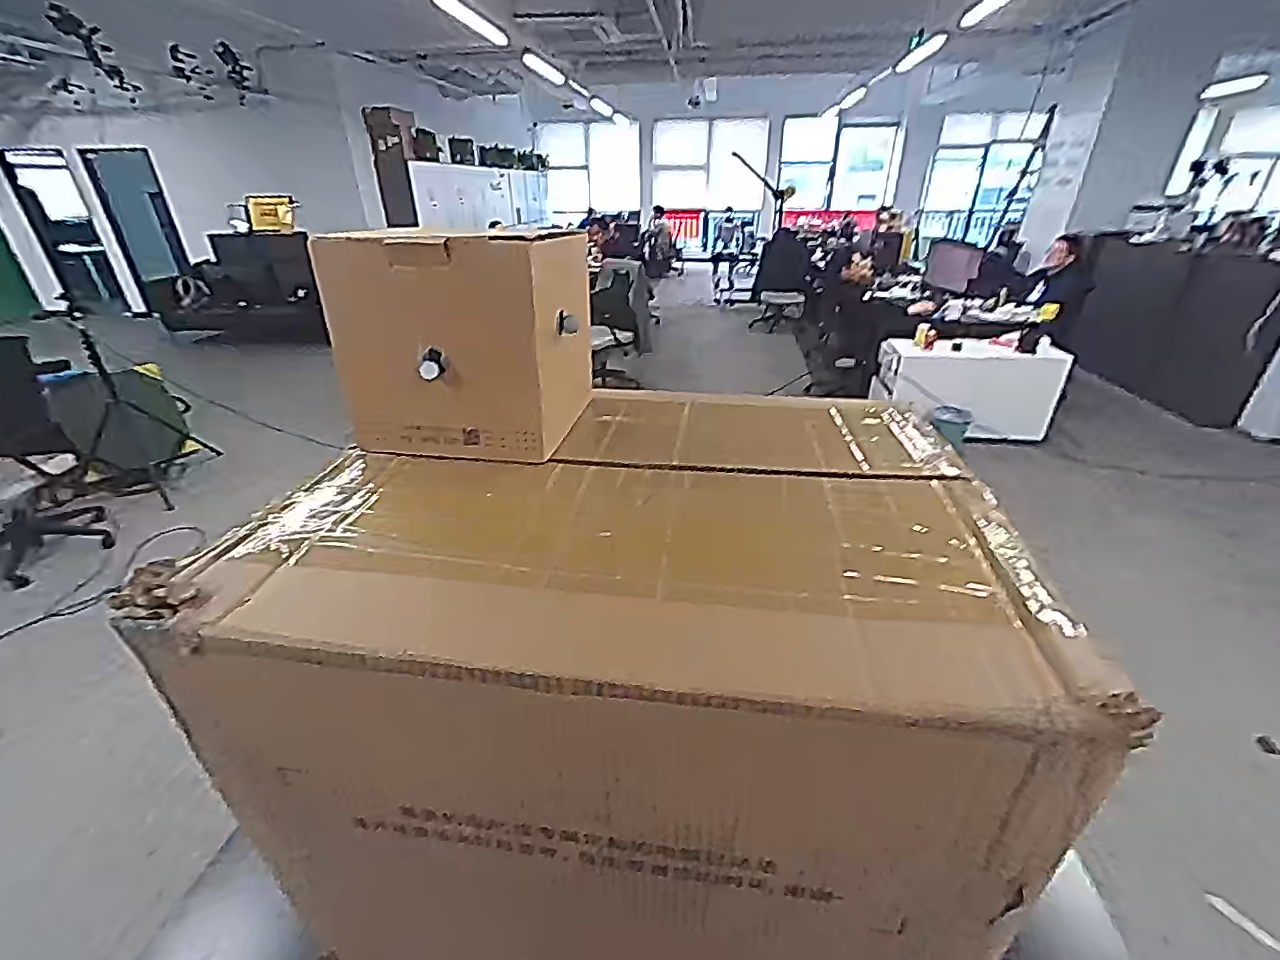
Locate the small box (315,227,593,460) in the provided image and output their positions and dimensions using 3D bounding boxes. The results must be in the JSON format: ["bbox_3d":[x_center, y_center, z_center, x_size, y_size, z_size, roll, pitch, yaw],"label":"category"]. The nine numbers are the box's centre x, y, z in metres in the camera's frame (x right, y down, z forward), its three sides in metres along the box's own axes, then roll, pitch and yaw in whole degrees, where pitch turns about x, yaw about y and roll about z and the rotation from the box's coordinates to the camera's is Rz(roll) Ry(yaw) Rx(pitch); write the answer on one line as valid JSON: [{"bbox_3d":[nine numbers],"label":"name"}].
[{"bbox_3d":[-0.138,-0.127,0.480,0.168,0.176,0.179,4,28,7],"label":"small box"}]
